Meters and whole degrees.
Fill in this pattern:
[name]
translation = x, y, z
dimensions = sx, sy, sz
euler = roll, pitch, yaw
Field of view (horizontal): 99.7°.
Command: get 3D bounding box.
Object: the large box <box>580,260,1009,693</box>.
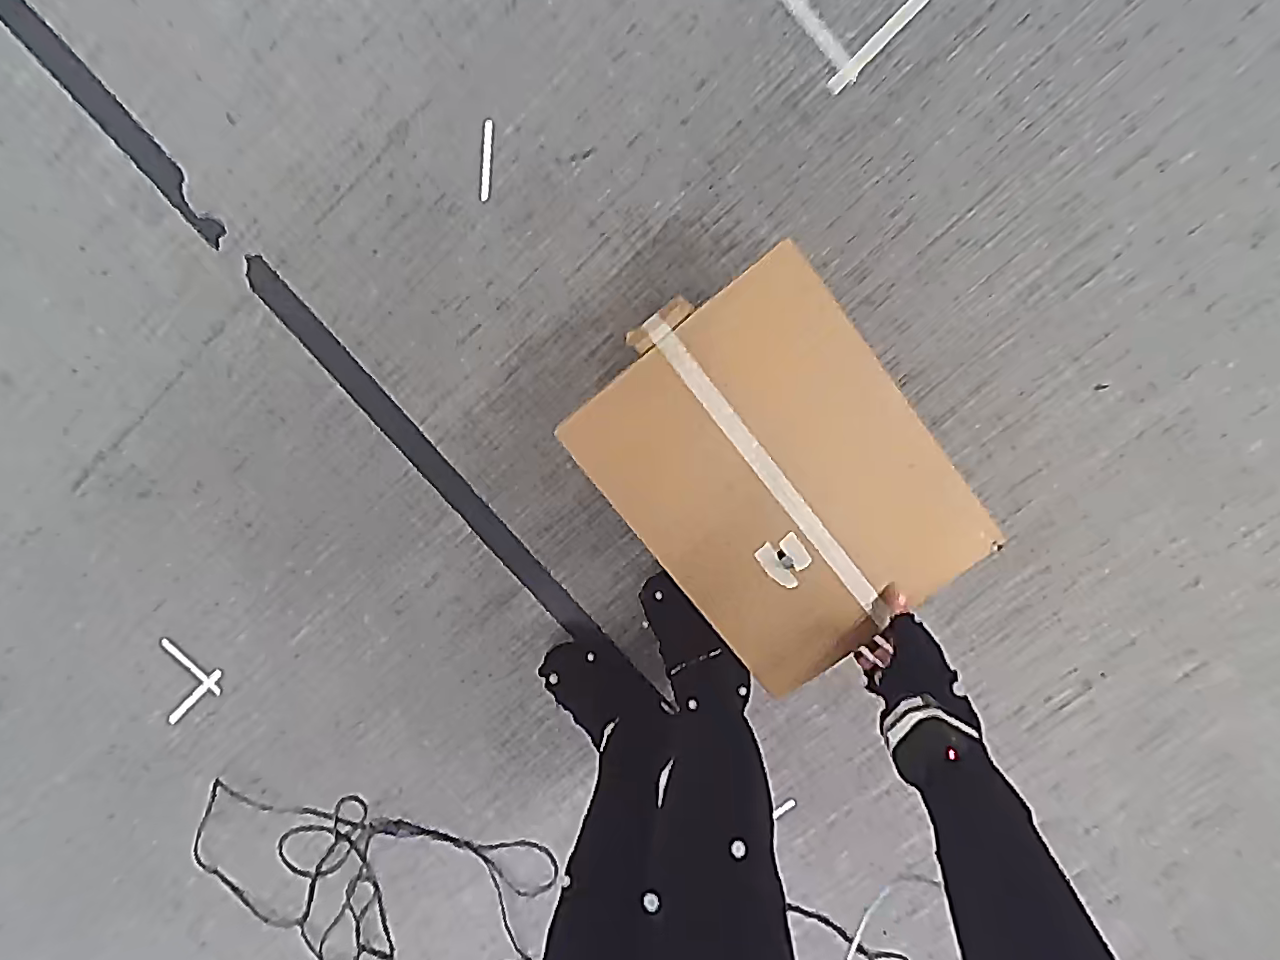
[large box]
translation = 0.174, -0.015, 0.742
dimensions = 0.320, 0.320, 0.408
euler = -38, 98, 9
